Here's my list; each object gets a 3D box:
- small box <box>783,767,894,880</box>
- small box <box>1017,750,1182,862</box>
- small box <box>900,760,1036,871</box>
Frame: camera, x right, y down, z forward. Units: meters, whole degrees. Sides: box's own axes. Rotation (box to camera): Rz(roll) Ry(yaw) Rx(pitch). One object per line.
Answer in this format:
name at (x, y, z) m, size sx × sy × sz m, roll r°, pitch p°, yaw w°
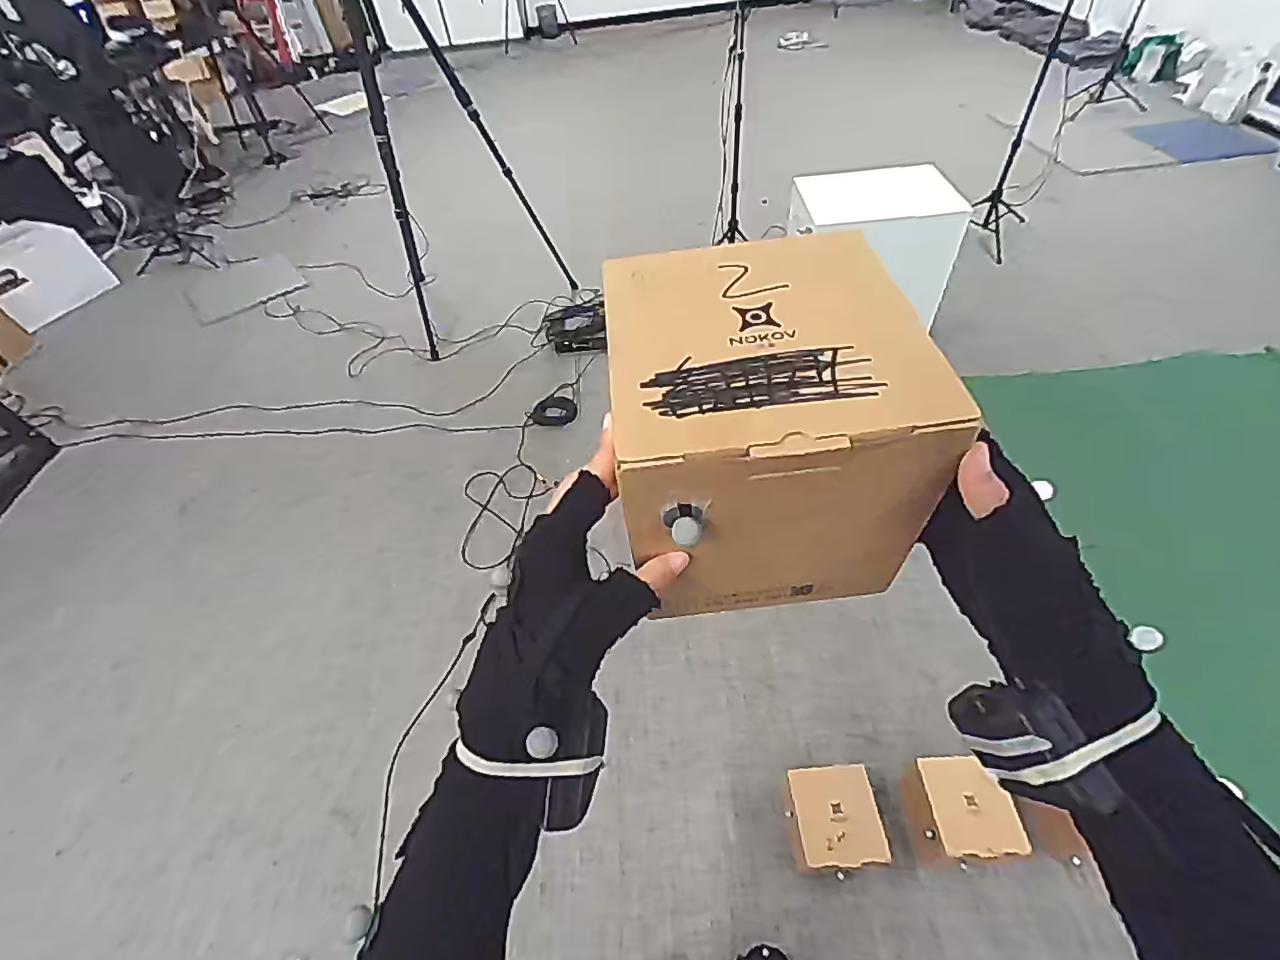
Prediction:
small box at (0.408, 0.731, 1.149) m, size 0.168 × 0.176 × 0.179 m, roll -6°, pitch 50°, yaw 3°
small box at (0.943, 0.686, 1.131) m, size 0.168 × 0.176 × 0.179 m, roll -6°, pitch 49°, yaw 1°
small box at (0.675, 0.710, 1.142) m, size 0.168 × 0.176 × 0.179 m, roll -4°, pitch 50°, yaw 3°
